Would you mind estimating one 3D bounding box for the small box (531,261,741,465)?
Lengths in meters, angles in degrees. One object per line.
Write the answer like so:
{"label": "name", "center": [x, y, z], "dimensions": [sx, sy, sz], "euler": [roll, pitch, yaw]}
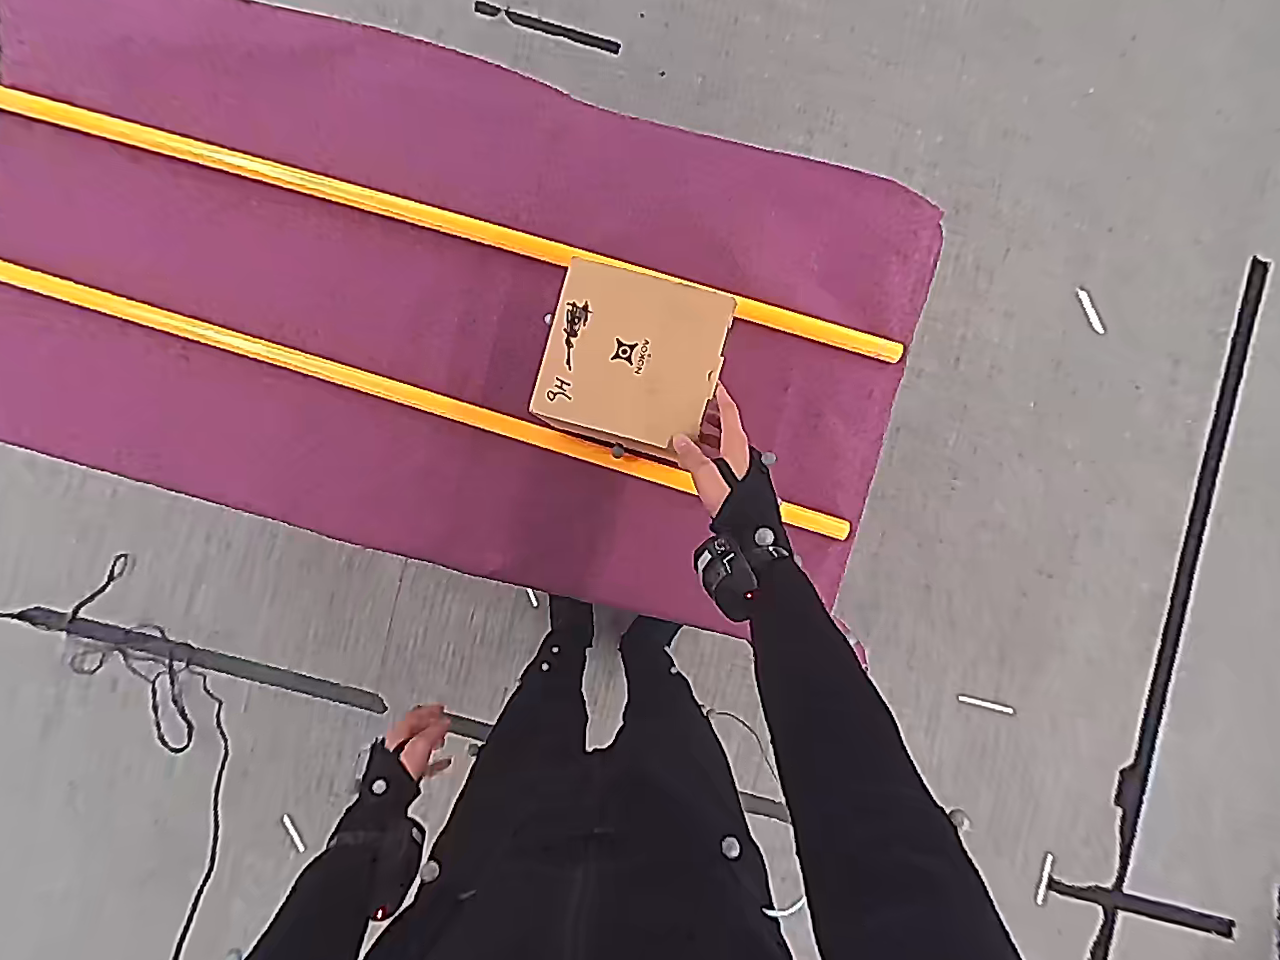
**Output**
{"label": "small box", "center": [-0.002, -0.118, 0.616], "dimensions": [0.179, 0.176, 0.168], "euler": [16, 90, 2]}
